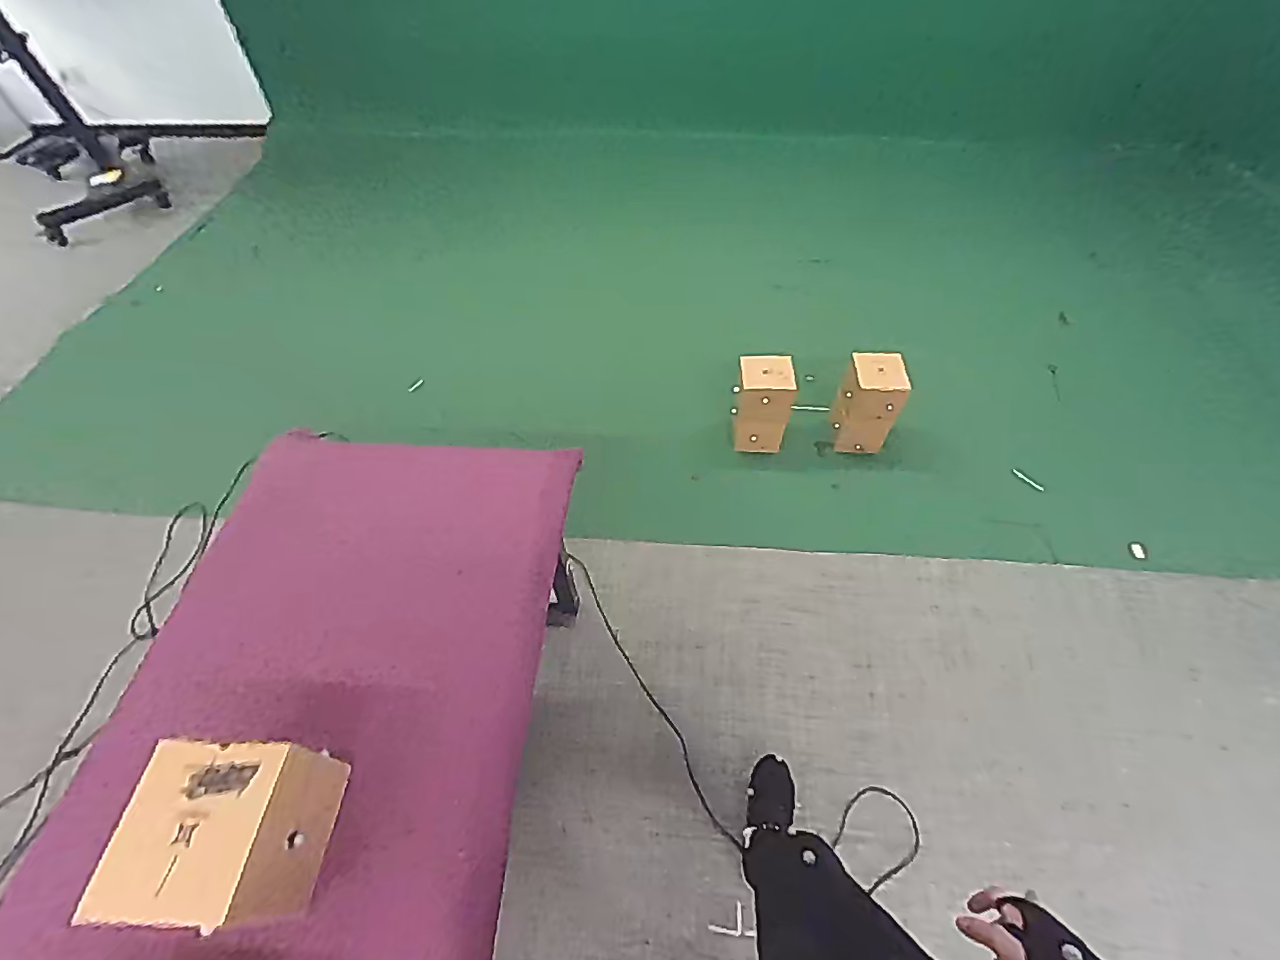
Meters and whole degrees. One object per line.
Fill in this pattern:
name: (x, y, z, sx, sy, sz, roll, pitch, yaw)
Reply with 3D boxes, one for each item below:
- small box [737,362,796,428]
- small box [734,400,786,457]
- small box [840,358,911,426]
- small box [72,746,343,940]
small box: (0.435, -0.295, 1.887, 0.179, 0.176, 0.168, 1, 53, 3)
small box: (0.443, -0.200, 2.022, 0.168, 0.176, 0.179, 1, 52, 3)
small box: (0.812, -0.302, 1.879, 0.168, 0.176, 0.179, 2, 54, 3)
small box: (-0.501, 0.443, 0.667, 0.168, 0.176, 0.179, 1, 54, 3)
